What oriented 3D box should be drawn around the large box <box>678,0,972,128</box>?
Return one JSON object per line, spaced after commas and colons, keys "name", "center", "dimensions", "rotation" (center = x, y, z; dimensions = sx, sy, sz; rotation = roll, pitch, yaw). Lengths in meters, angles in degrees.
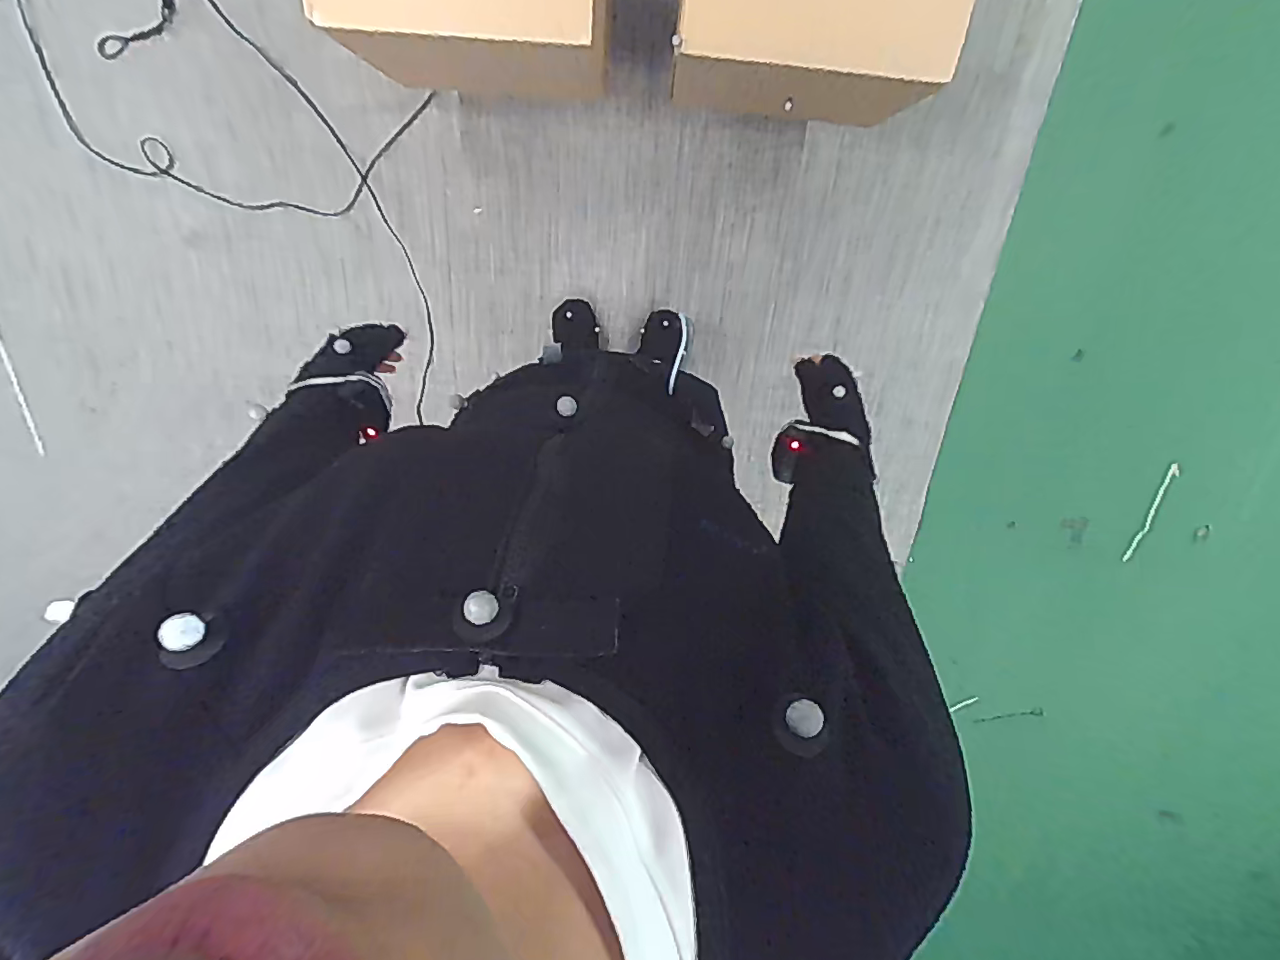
{"name": "large box", "center": [0.284, -0.796, 0.882], "dimensions": [0.408, 0.320, 0.320], "rotation": [6, 113, -1]}
